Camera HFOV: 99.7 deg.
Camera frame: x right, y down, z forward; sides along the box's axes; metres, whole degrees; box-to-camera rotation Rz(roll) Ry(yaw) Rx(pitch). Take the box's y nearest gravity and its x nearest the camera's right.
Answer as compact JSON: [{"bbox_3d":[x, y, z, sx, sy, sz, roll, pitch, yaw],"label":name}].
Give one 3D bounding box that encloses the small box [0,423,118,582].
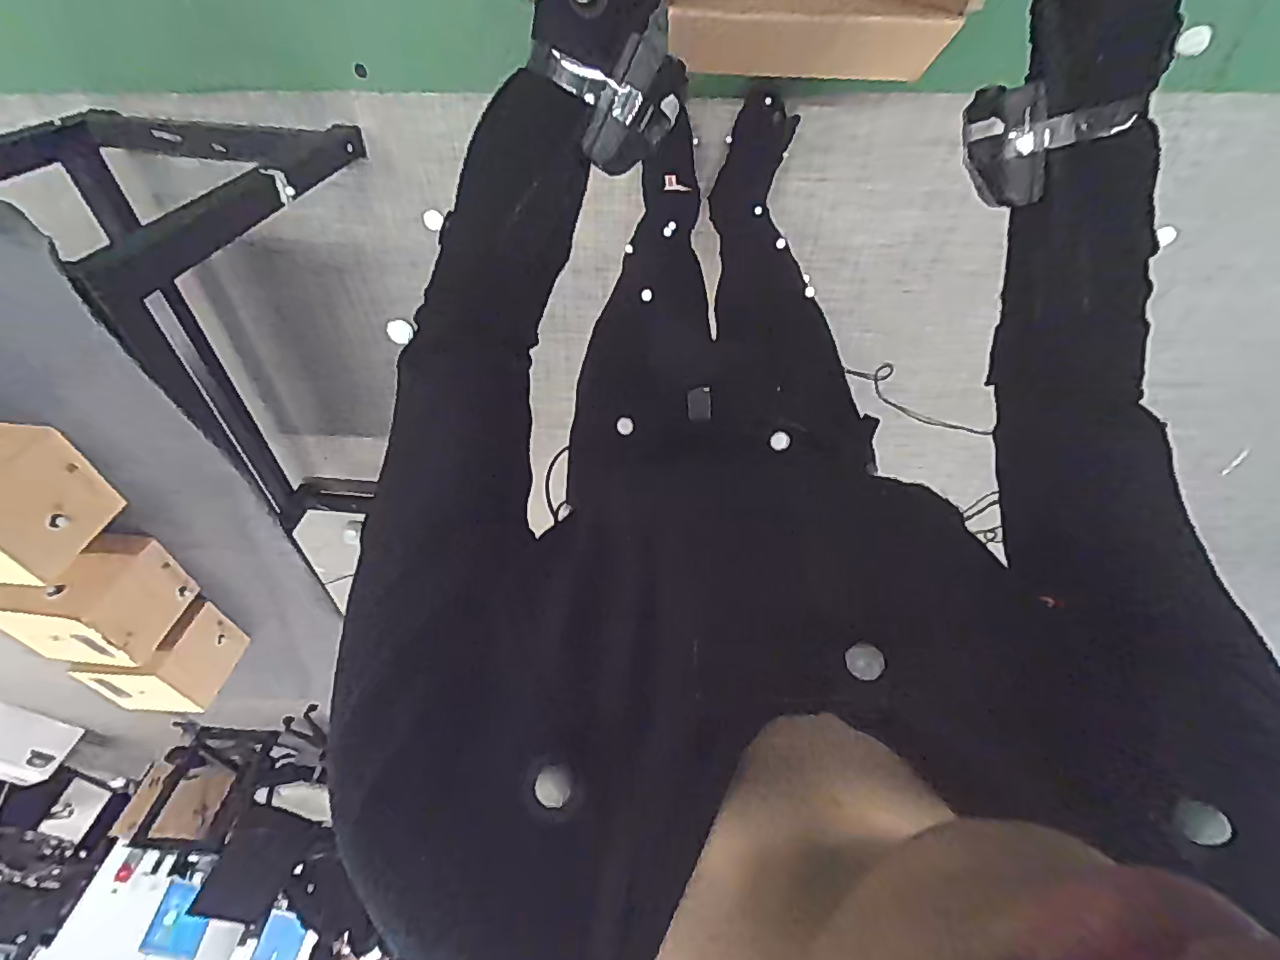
[{"bbox_3d":[-0.928,0.028,0.784,0.179,0.176,0.168,4,135,3],"label":"small box"}]
